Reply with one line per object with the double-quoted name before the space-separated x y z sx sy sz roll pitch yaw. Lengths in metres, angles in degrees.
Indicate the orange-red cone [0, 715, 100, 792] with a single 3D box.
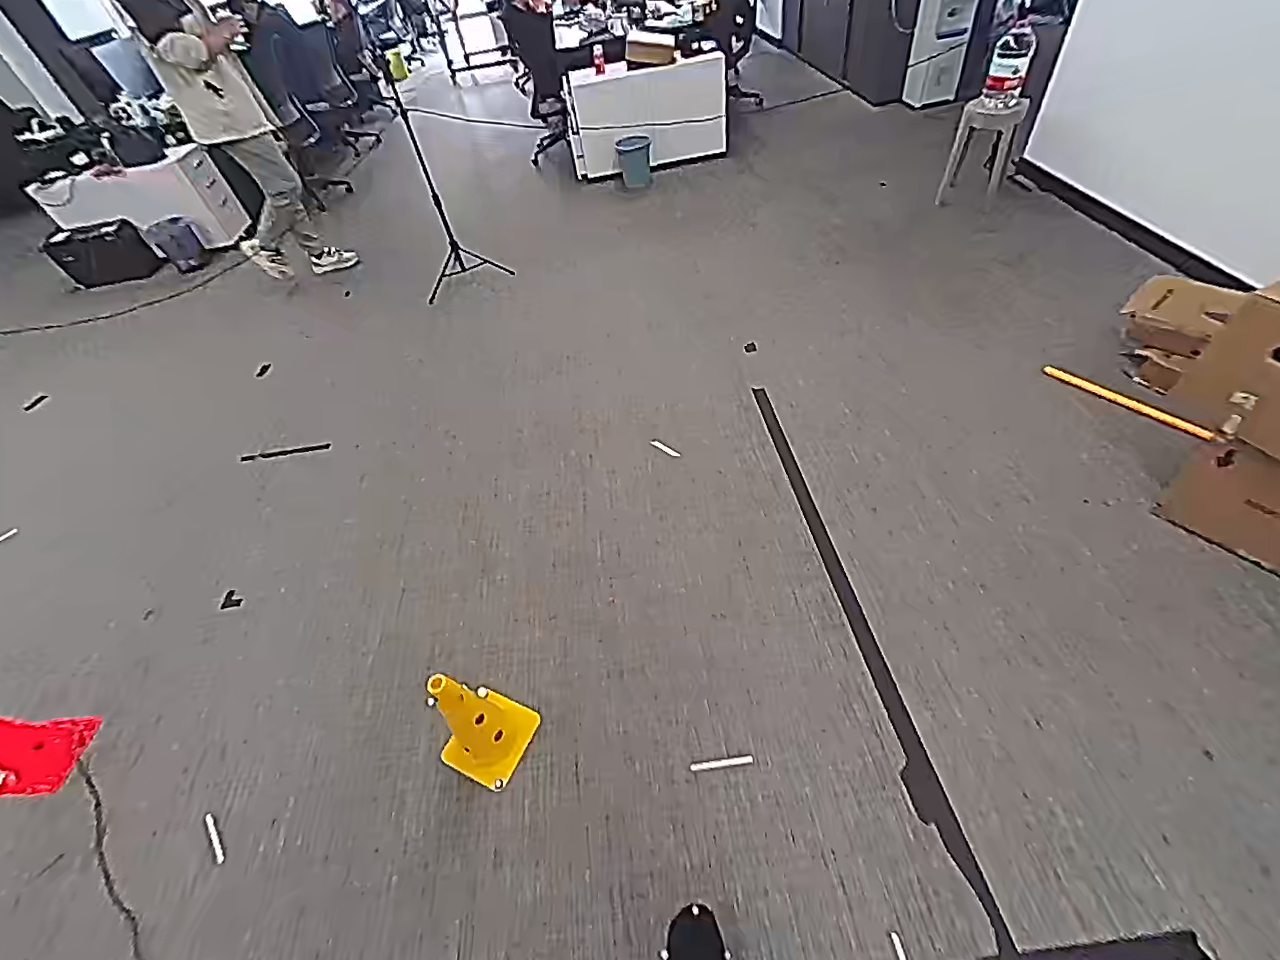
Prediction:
"orange-red cone" -1.690 0.661 1.408 0.199 0.360 0.198 -3 48 6
